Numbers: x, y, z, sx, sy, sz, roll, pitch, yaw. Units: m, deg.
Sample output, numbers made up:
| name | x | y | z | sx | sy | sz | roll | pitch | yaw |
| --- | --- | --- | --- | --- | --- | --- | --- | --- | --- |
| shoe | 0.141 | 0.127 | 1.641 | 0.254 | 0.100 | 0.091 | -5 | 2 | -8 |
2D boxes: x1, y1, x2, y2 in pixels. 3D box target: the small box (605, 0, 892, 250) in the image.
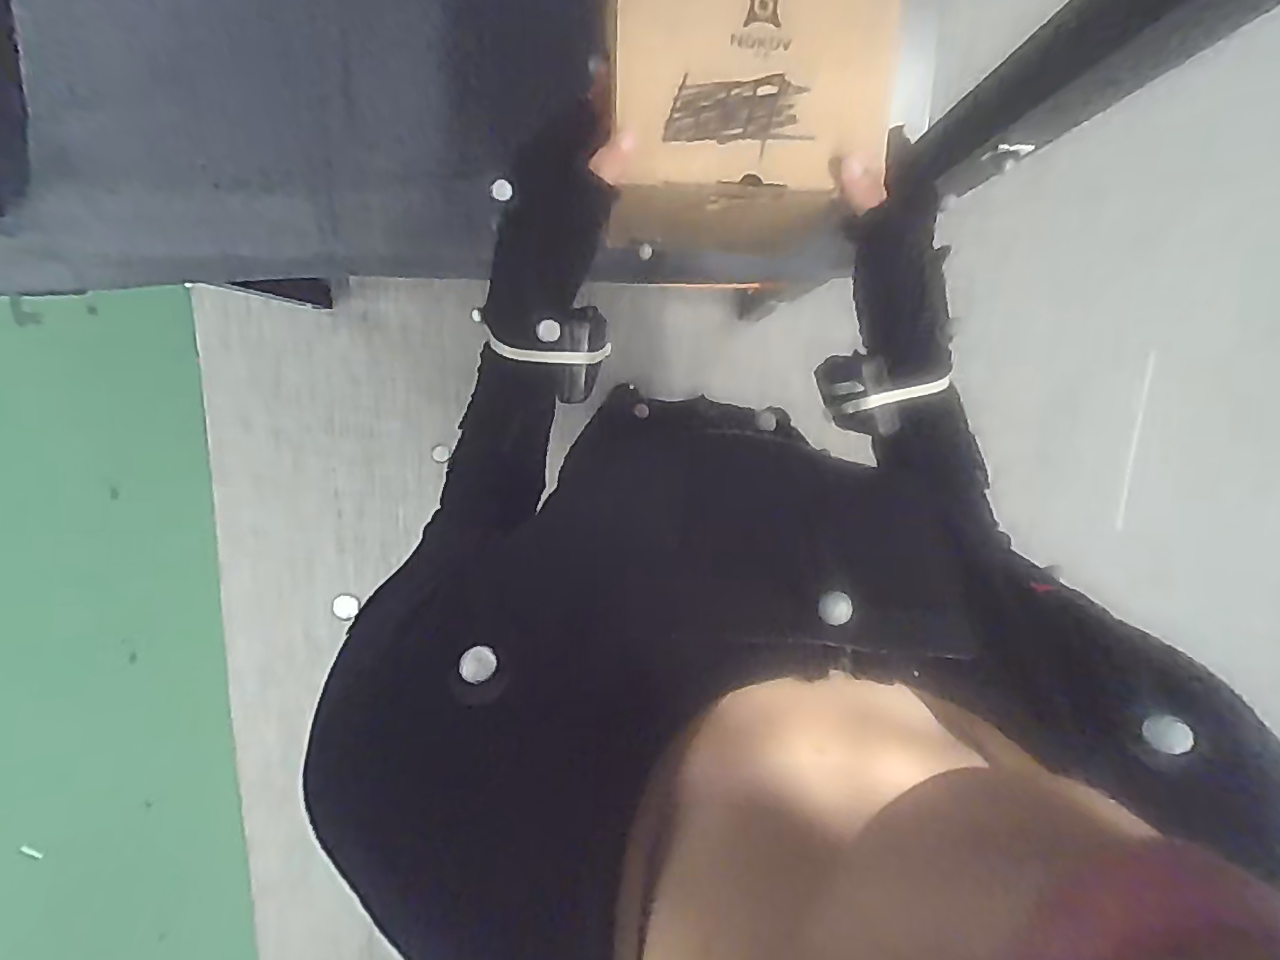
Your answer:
| name | x | y | z | sx | sy | sz | roll | pitch | yaw |
| --- | --- | --- | --- | --- | --- | --- | --- | --- | --- |
| small box | 0.061 | -0.283 | 0.399 | 0.168 | 0.176 | 0.179 | 2 | 99 | -6 |
